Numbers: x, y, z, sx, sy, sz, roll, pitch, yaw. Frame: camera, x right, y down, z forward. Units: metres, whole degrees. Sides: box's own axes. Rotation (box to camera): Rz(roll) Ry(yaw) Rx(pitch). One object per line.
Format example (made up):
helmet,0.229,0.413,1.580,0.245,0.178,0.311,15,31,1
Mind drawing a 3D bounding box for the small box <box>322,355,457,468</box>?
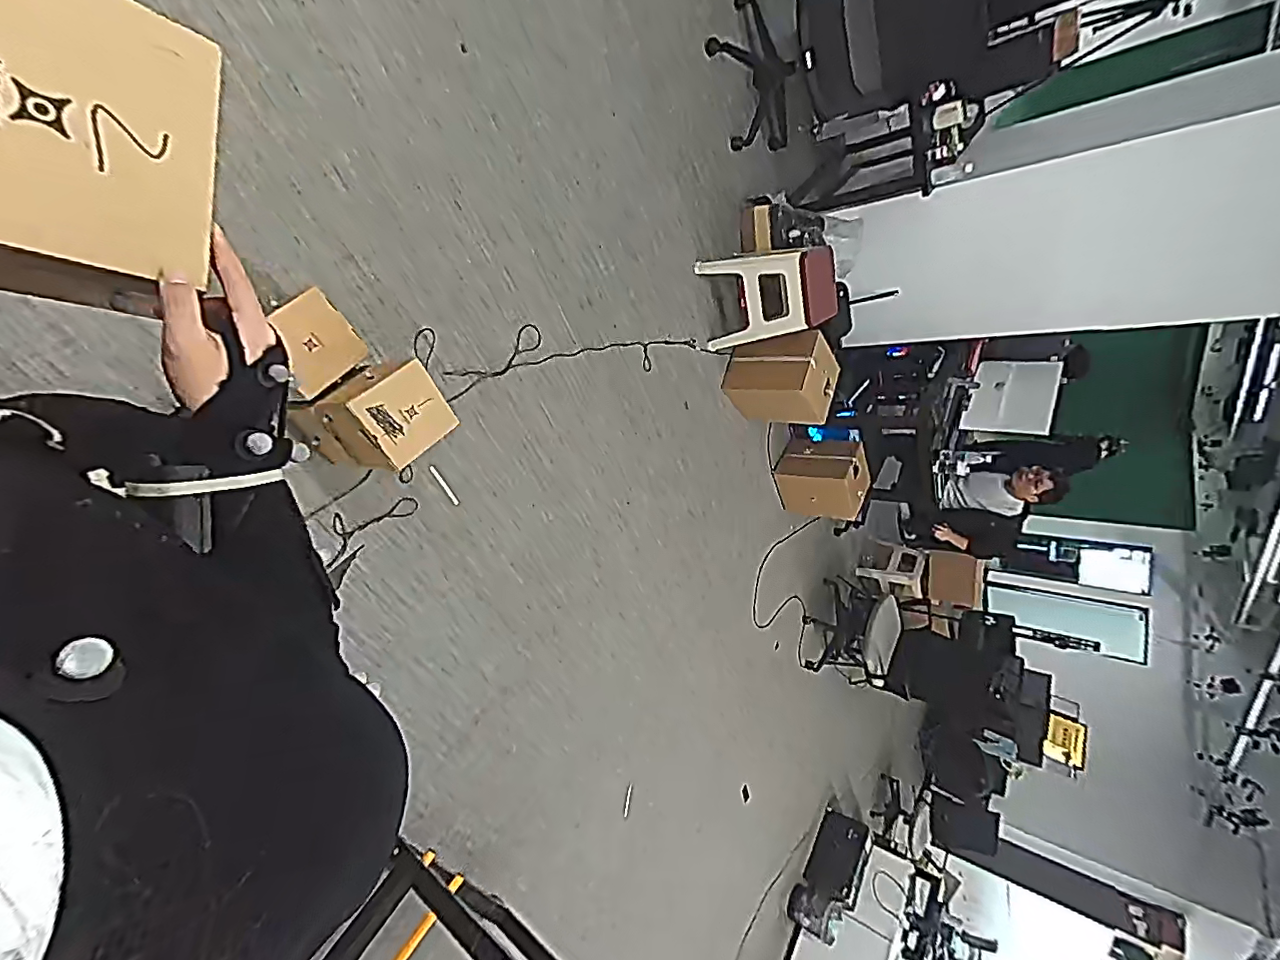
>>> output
small box,-0.533,-0.144,1.137,0.179,0.176,0.168,-50,130,-35
